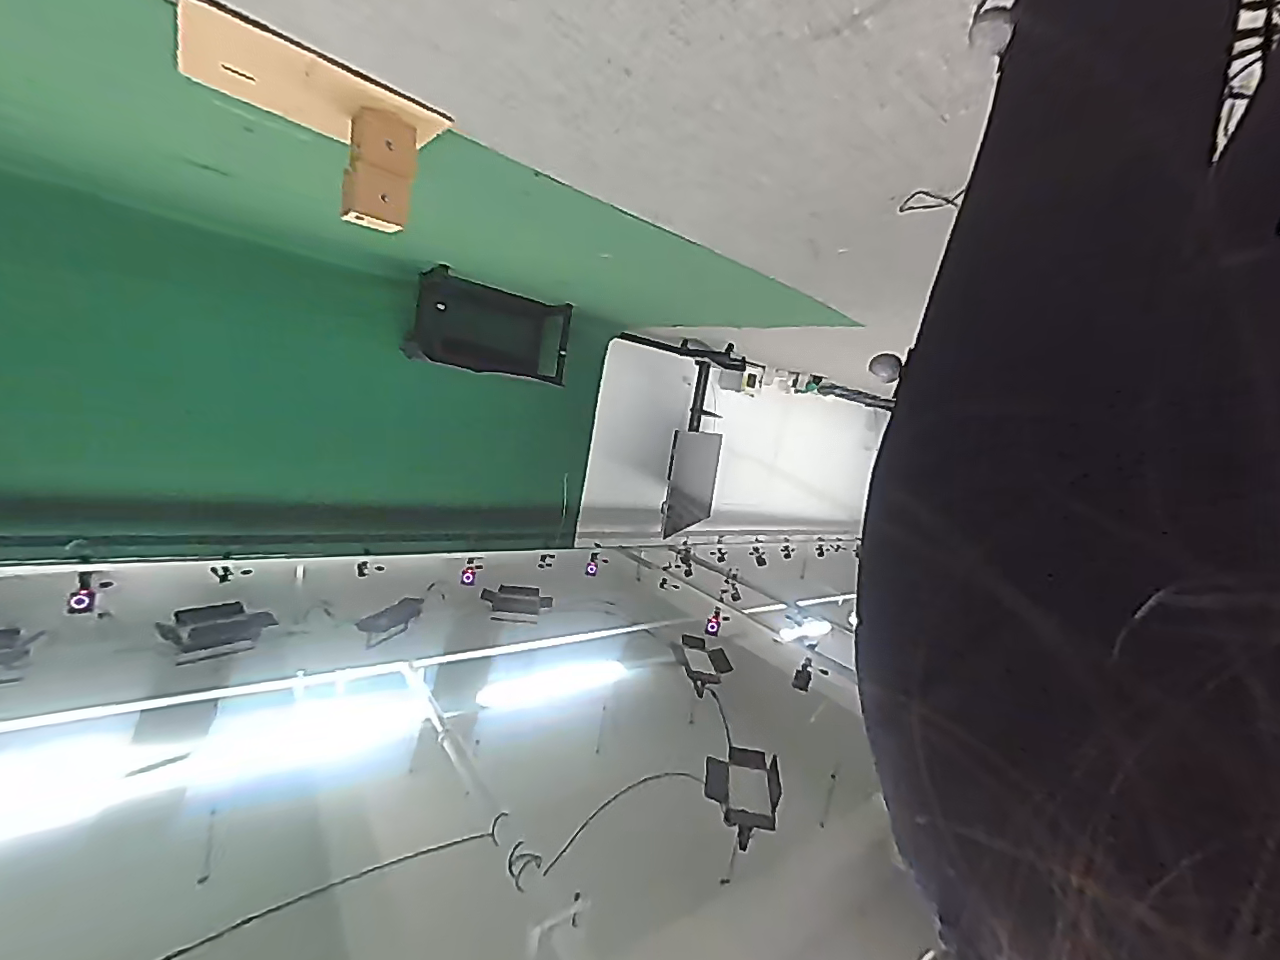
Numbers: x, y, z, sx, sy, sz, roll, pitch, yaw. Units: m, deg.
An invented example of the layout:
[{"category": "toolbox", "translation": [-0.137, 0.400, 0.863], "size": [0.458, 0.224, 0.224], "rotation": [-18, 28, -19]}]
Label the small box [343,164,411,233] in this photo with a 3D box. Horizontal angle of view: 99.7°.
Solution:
[{"category": "small box", "translation": [-0.931, -0.998, 1.915], "size": [0.179, 0.176, 0.168], "rotation": [0, -168, -43]}]
